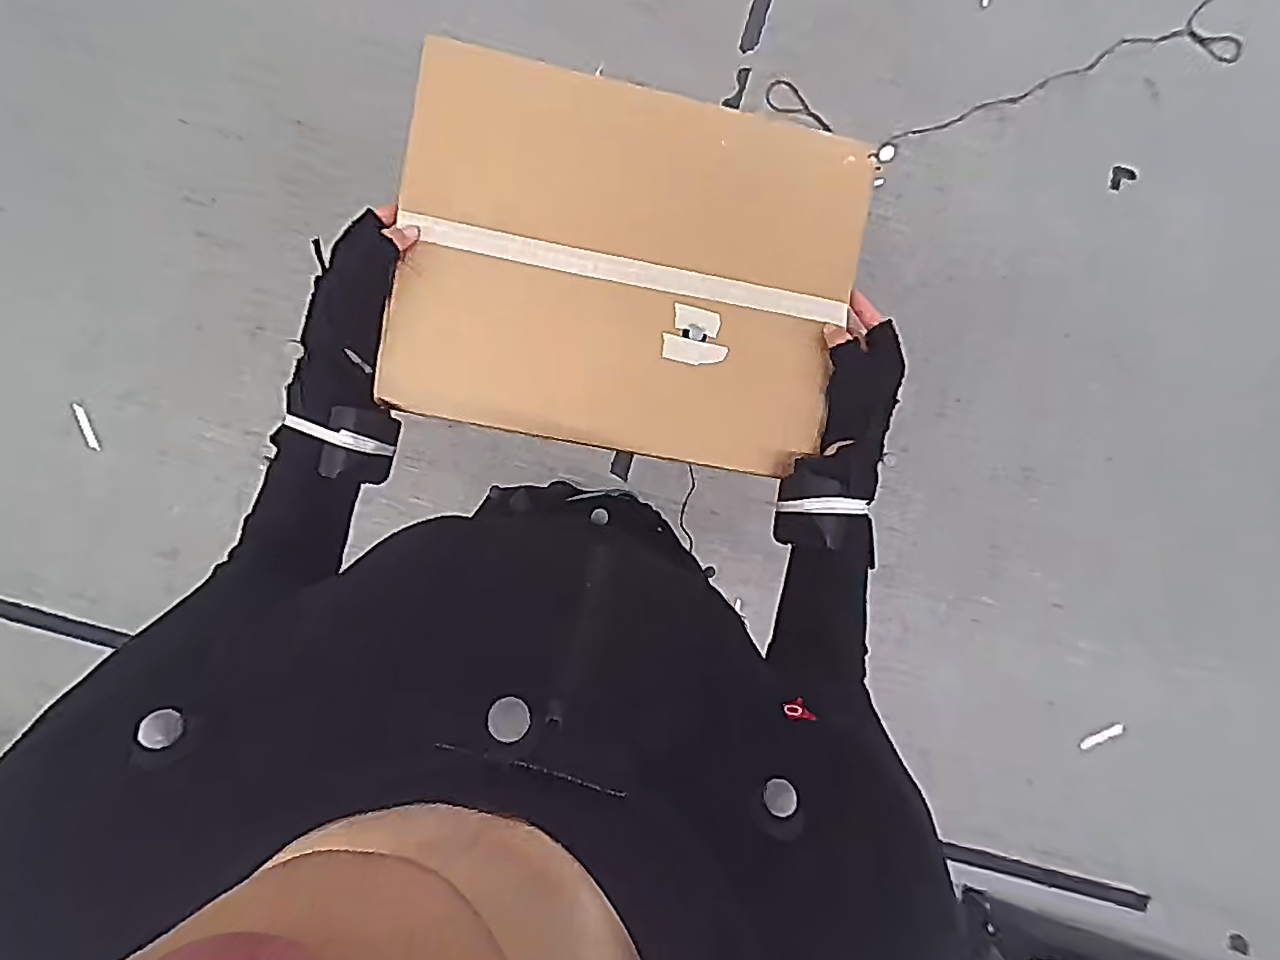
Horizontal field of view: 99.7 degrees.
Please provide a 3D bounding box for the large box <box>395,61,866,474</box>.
[{"bbox_3d":[-0.020,-0.197,0.644,0.408,0.320,0.320,10,95,-6],"label":"large box"}]
